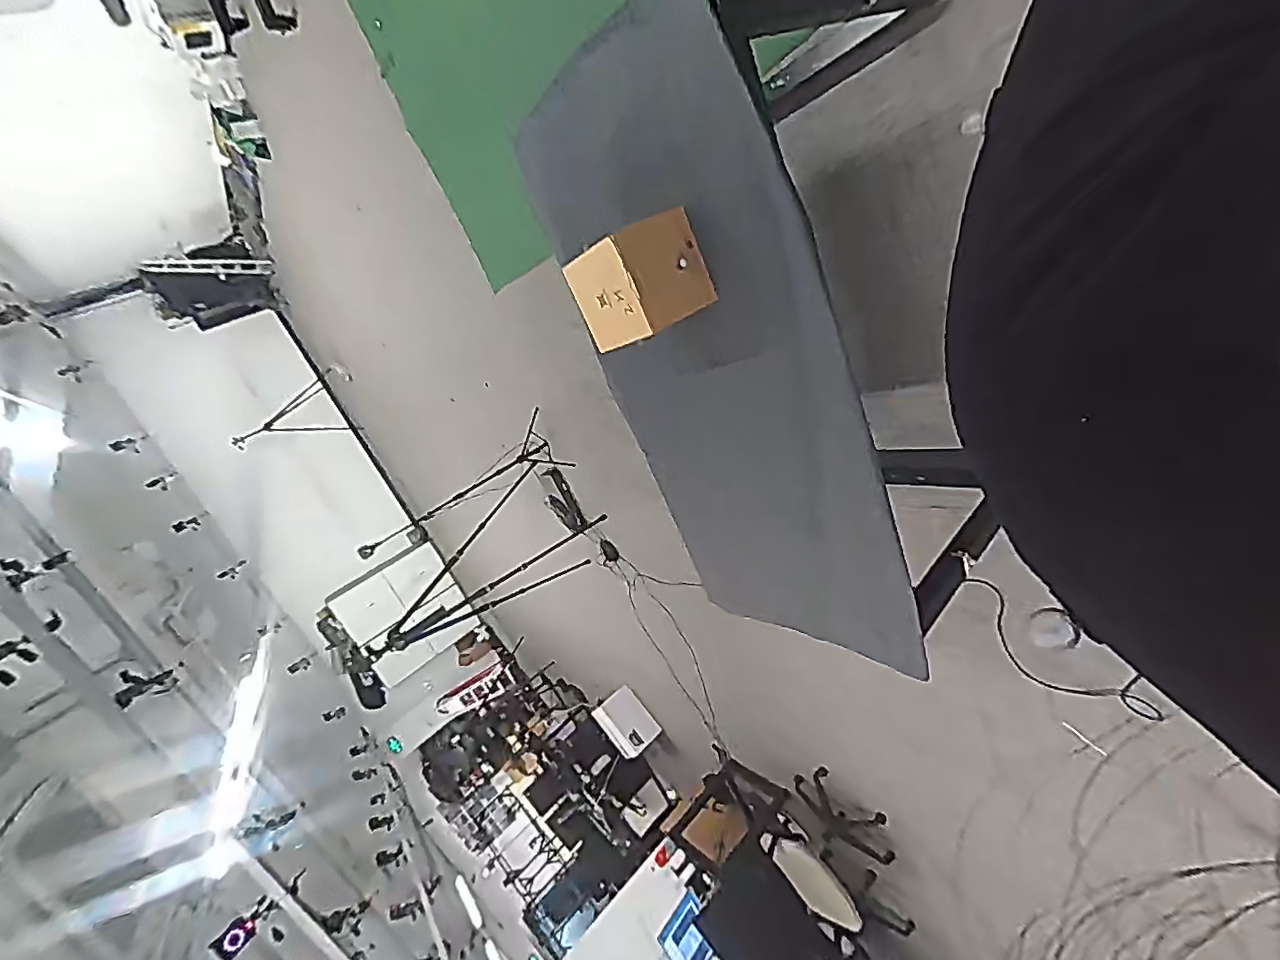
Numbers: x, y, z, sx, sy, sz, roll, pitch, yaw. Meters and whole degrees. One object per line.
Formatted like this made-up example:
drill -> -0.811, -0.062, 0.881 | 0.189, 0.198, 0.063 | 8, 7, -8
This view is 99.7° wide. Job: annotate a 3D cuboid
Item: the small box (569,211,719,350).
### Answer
small box -> 0.008, -0.353, 0.969 | 0.179, 0.176, 0.168 | 1, 122, 56
